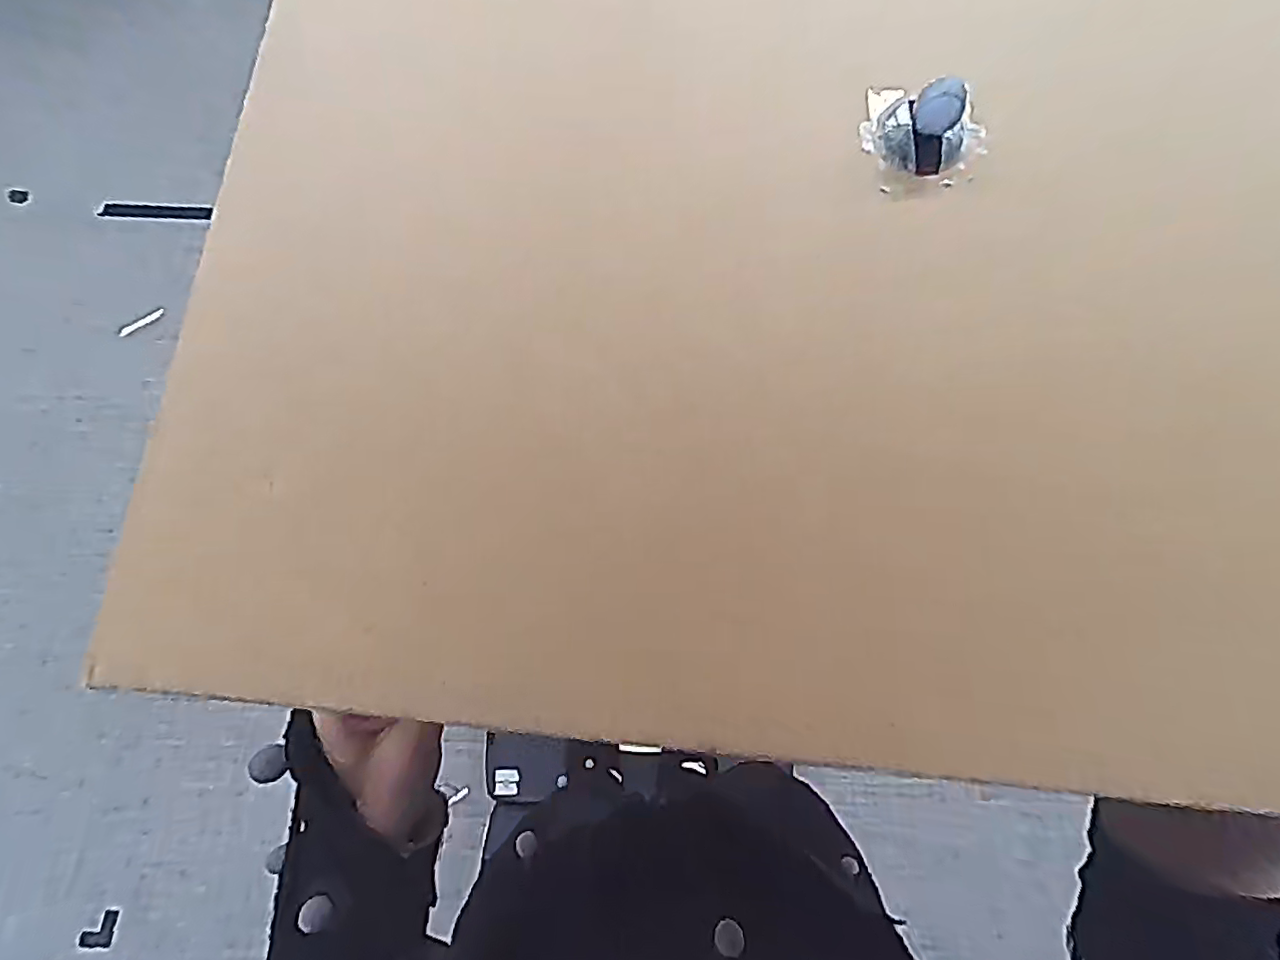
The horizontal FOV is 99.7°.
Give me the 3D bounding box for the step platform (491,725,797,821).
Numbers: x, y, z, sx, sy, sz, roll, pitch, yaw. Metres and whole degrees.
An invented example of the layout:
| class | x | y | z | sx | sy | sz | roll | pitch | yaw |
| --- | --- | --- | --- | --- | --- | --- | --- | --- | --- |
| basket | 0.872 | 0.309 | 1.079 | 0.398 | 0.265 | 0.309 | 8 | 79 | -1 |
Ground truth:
| class | x | y | z | sx | sy | sz | roll | pitch | yaw |
| --- | --- | --- | --- | --- | --- | --- | --- | --- | --- |
| step platform | 0.011 | 0.577 | 1.253 | 0.684 | 0.204 | 0.286 | 7 | 73 | 0 |
